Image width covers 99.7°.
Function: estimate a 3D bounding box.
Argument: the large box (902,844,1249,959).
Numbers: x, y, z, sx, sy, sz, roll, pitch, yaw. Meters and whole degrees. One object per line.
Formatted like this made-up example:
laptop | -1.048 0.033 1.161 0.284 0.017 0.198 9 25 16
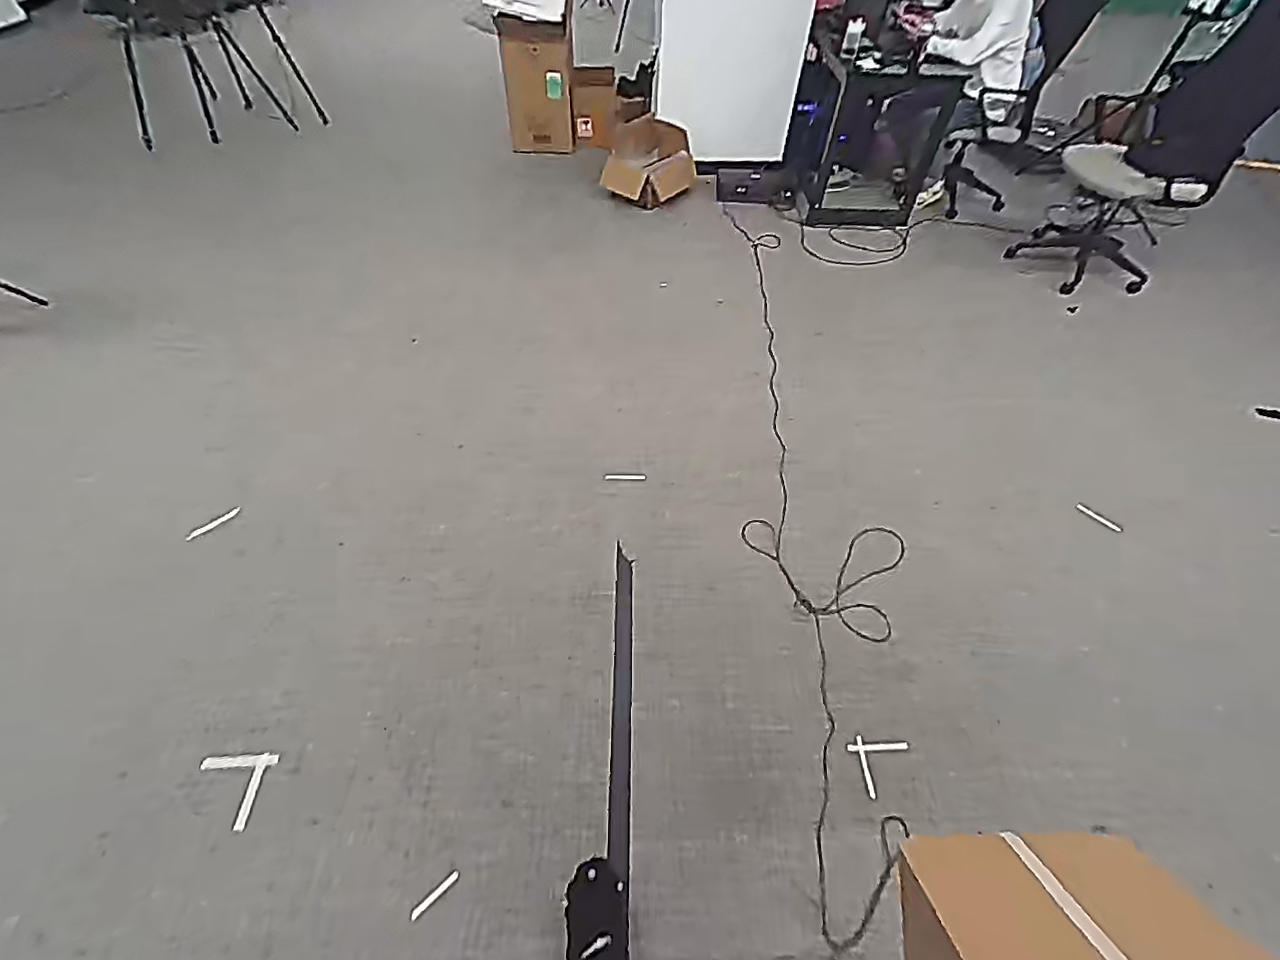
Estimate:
large box | 0.520 0.680 0.579 0.320 0.408 0.320 -3 92 4
